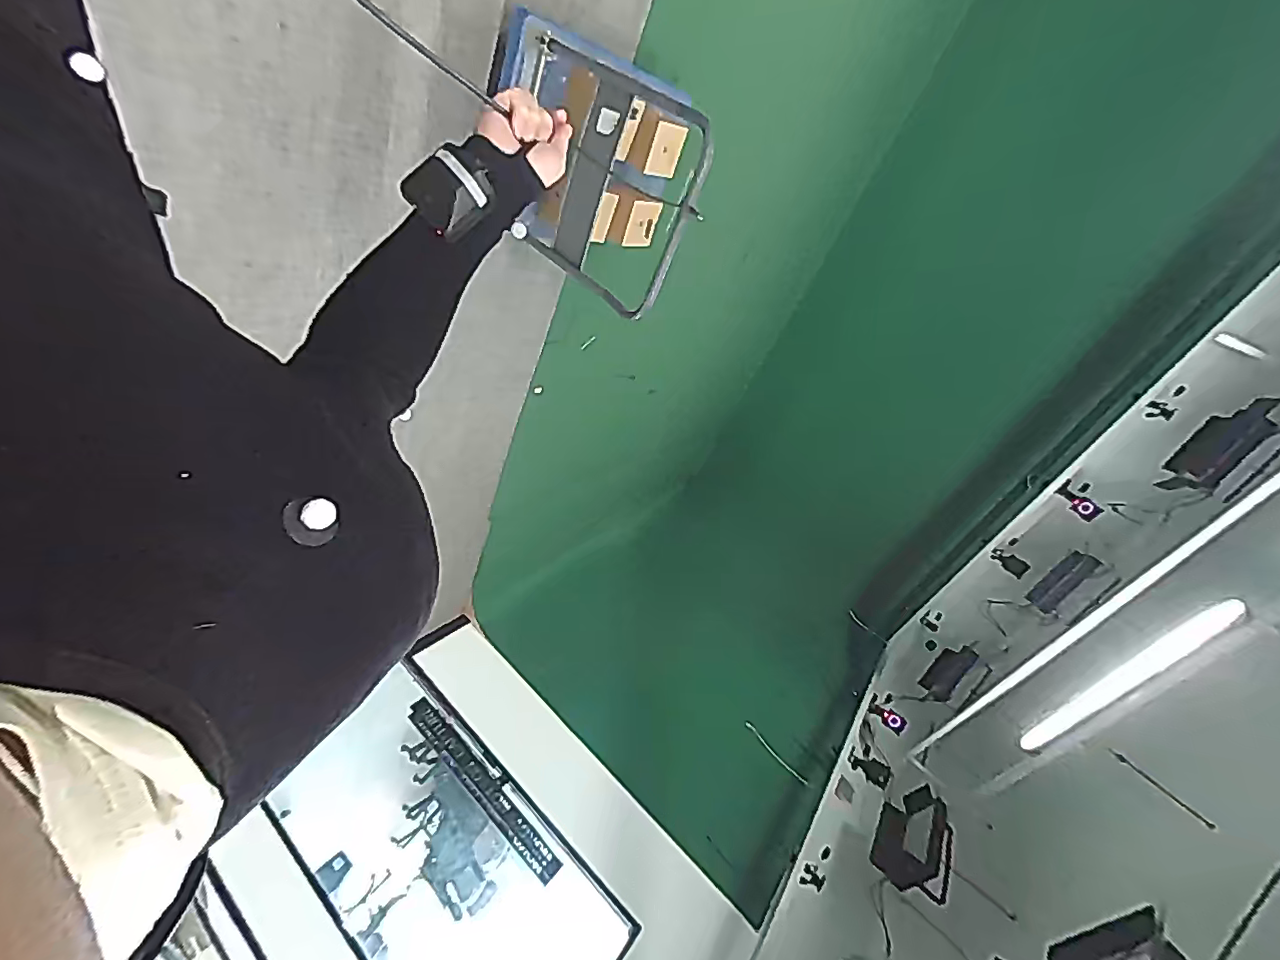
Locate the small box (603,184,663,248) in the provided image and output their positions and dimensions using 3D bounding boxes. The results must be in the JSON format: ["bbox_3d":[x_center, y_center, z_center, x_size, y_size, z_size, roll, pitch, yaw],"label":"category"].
[{"bbox_3d":[-0.051,-0.998,2.044,0.179,0.176,0.168,-26,148,-46],"label":"small box"}]

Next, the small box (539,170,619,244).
[{"bbox_3d":[-0.209,-0.927,1.837,0.179,0.176,0.168,-23,146,-51],"label":"small box"}]

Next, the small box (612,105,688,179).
[{"bbox_3d":[0.030,-1.184,1.895,0.179,0.176,0.168,-27,150,-47],"label":"small box"}]
